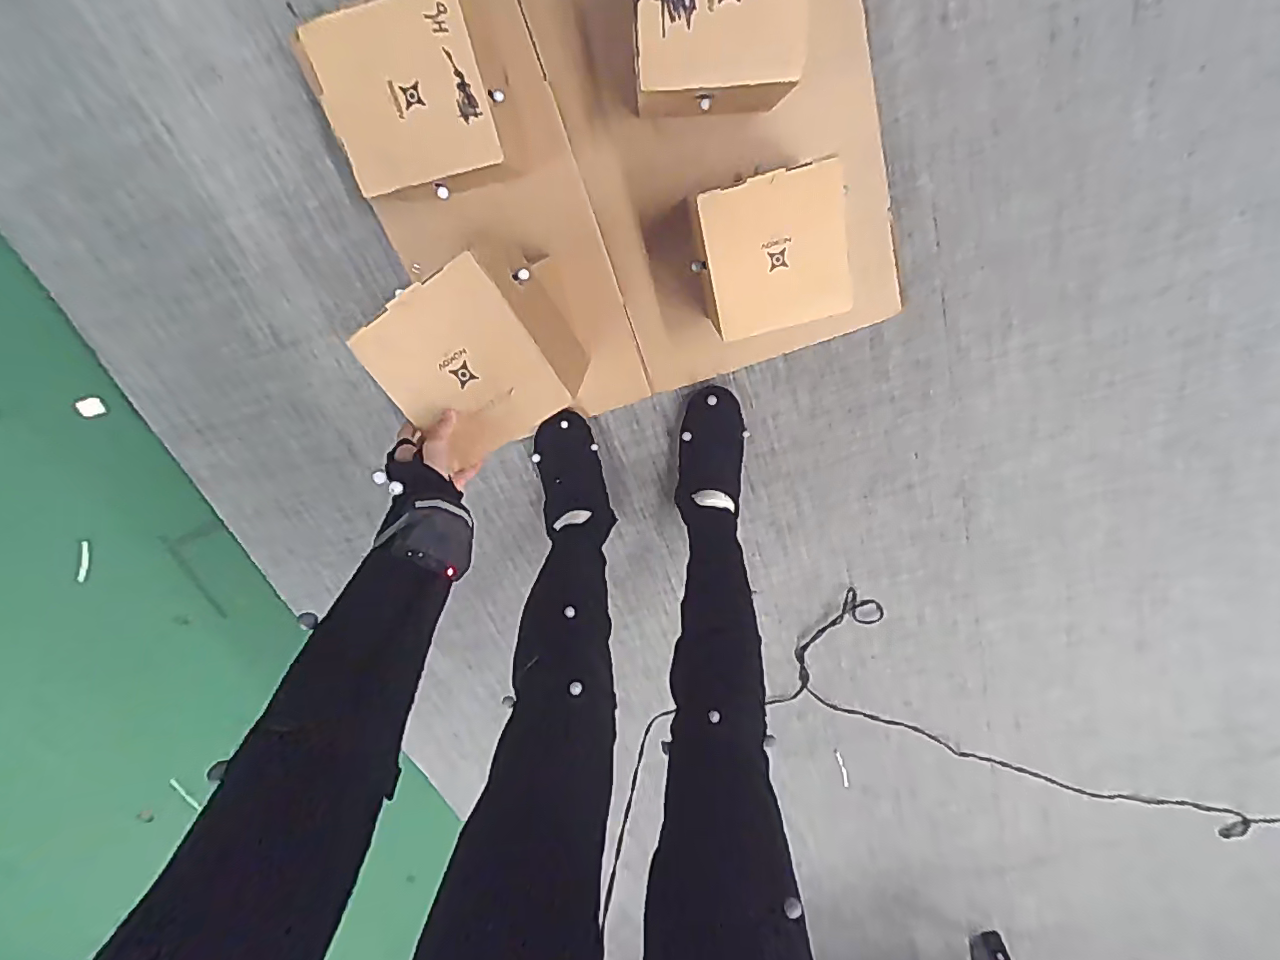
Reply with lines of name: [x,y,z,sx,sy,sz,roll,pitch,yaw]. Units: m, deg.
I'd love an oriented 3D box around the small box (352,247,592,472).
small box: [-0.173,-0.145,0.617,0.168,0.176,0.179,-28,113,15]

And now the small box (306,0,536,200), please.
small box: [-0.245,-0.447,0.654,0.179,0.176,0.168,-10,115,7]

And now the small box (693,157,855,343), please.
small box: [0.169,-0.300,0.712,0.168,0.176,0.179,-13,114,7]

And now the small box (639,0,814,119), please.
small box: [0.087,-0.519,0.605,0.179,0.176,0.168,-3,116,1]
